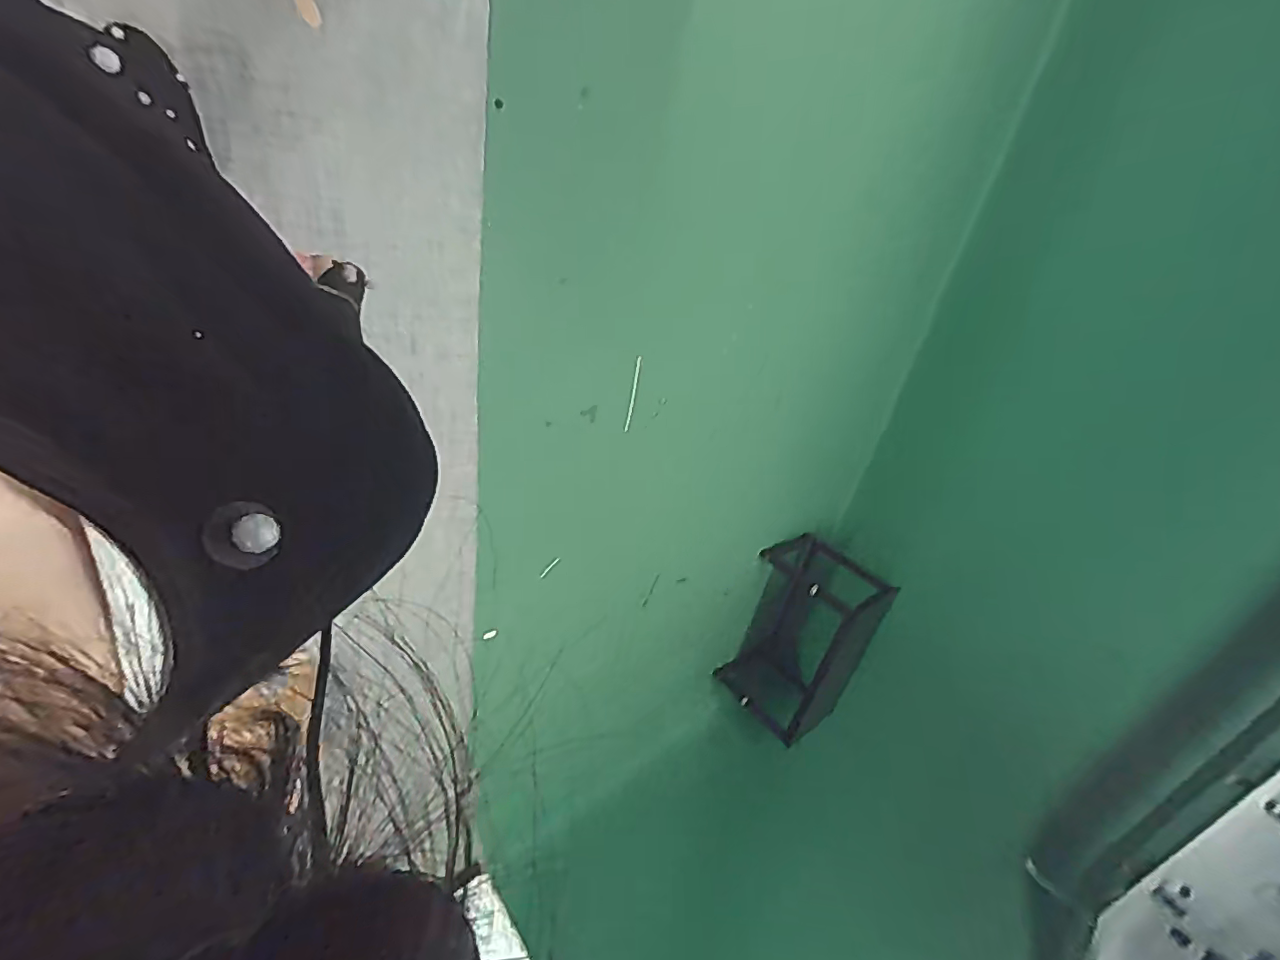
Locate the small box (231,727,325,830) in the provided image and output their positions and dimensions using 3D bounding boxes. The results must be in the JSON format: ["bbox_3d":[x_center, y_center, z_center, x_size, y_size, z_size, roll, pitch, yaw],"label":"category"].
[{"bbox_3d":[-1.056,0.864,1.578,0.168,0.176,0.179,-27,134,-31],"label":"small box"}]

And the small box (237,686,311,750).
[{"bbox_3d":[-1.142,0.774,1.686,0.168,0.176,0.179,-9,125,-41],"label":"small box"}]
